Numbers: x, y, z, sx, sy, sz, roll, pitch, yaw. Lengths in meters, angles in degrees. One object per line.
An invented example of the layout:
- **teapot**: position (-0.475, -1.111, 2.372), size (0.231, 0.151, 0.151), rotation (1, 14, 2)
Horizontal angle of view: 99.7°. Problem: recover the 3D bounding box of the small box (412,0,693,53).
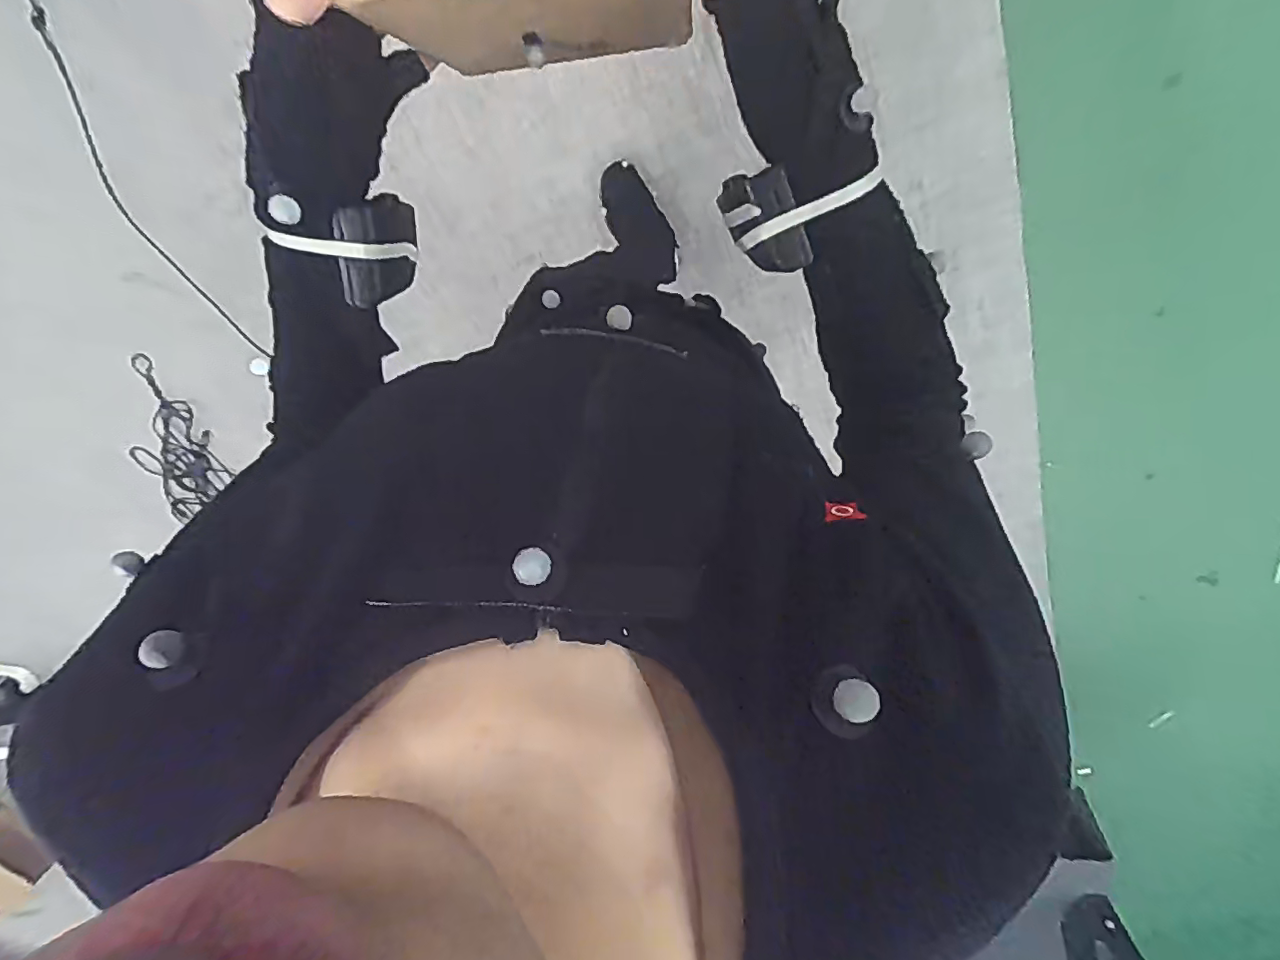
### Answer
- **small box**: position (-0.058, -0.338, 0.256), size (0.168, 0.176, 0.179), rotation (-3, 118, 7)
